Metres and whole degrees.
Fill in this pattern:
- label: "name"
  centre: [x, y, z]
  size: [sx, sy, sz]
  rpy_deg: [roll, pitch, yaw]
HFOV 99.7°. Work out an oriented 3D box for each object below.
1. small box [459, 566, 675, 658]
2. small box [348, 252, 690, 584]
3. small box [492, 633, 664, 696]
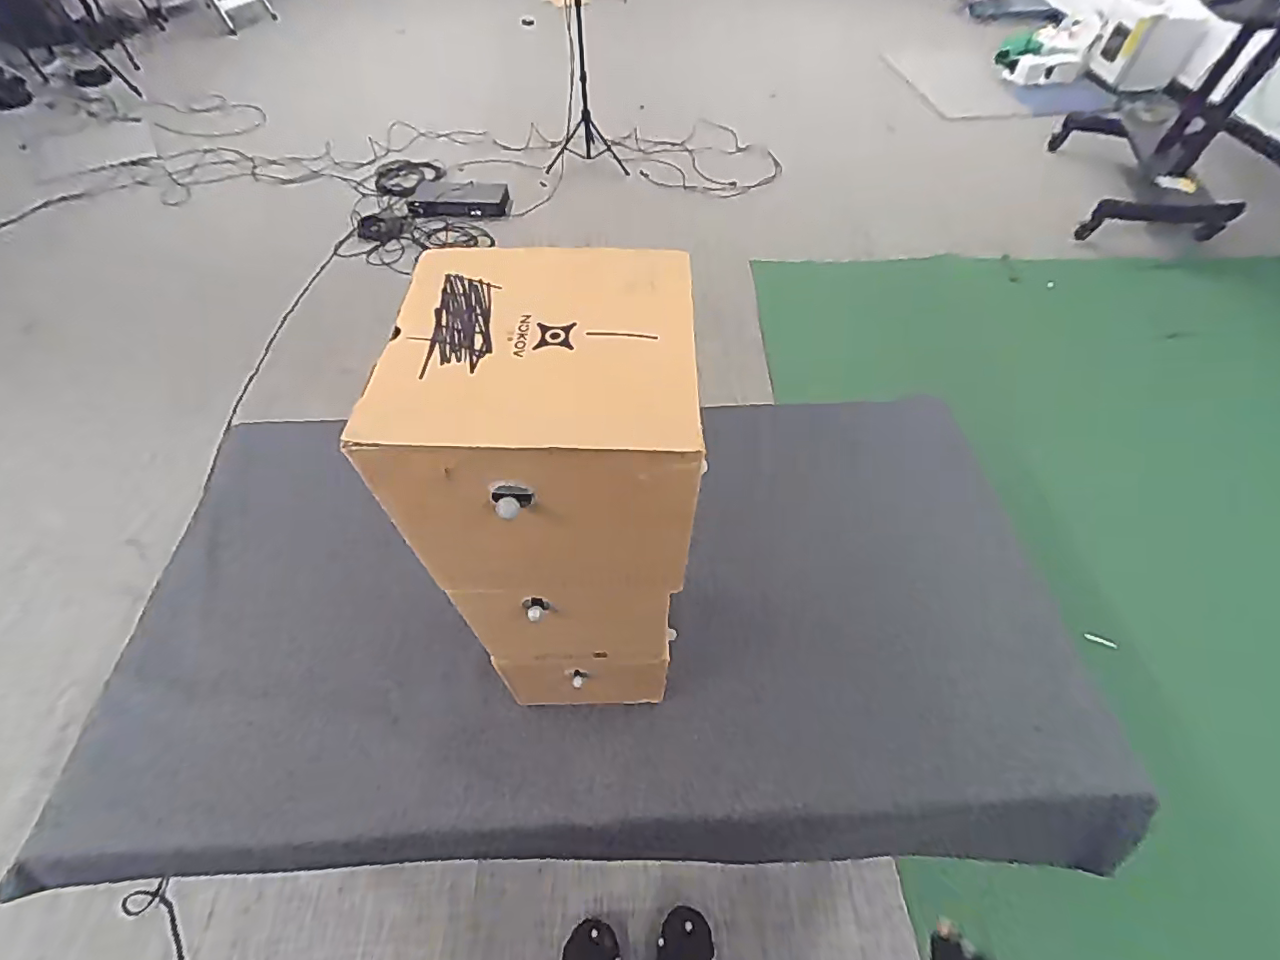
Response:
- label: "small box"
  centre: [-0.059, 0.057, 0.518]
  size: [0.168, 0.176, 0.179]
  rpy_deg: [-1, 55, -2]
- label: "small box"
  centre: [-0.058, -0.036, 0.379]
  size: [0.179, 0.176, 0.168]
  rpy_deg: [1, 55, 0]
- label: "small box"
  centre: [-0.062, 0.153, 0.647]
  size: [0.179, 0.176, 0.168]
  rpy_deg: [0, 55, -1]
